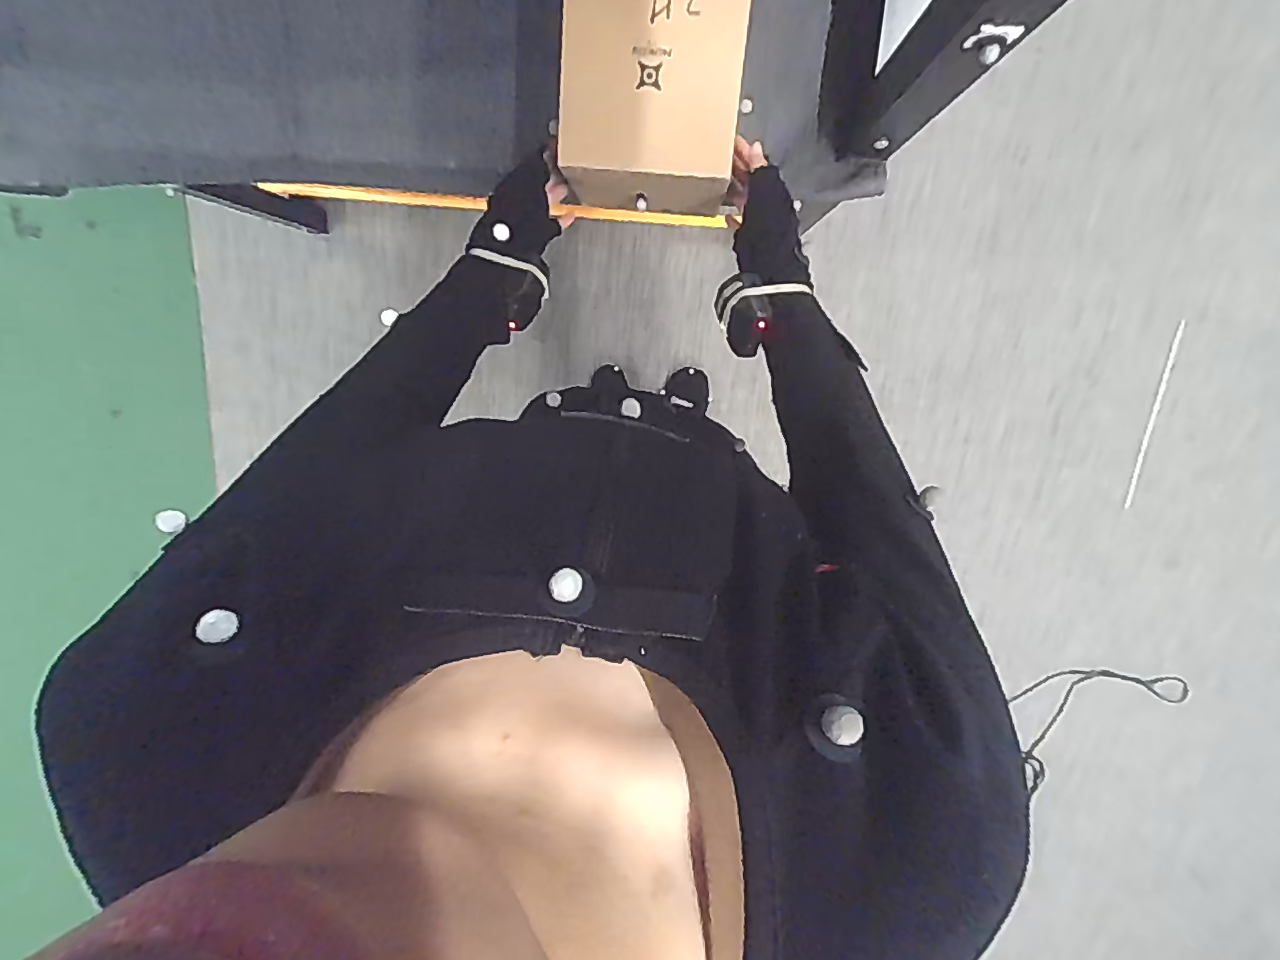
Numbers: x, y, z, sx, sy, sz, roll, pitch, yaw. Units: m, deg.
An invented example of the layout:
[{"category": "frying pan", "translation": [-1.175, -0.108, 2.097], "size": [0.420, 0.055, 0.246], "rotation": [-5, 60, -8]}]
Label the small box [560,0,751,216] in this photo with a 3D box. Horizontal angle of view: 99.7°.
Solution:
[{"category": "small box", "translation": [0.016, -0.392, 0.569], "size": [0.168, 0.176, 0.179], "rotation": [5, 104, 1]}]
